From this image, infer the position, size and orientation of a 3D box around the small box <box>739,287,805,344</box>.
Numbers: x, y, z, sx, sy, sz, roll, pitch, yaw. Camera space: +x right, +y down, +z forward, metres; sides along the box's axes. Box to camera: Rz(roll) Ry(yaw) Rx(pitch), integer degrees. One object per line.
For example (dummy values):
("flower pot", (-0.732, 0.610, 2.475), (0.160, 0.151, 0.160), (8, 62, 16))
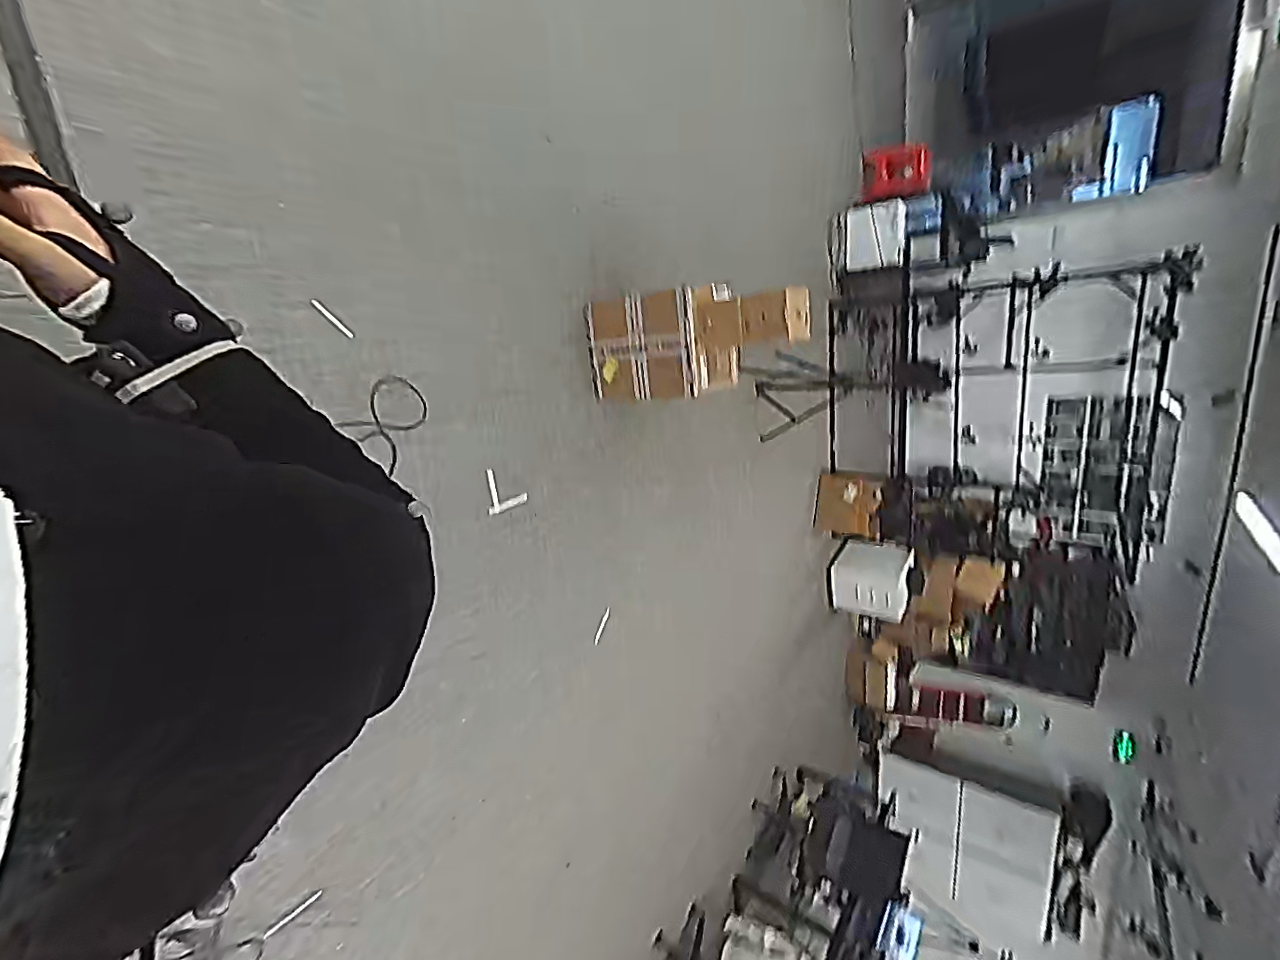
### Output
("small box", (0.449, -0.562, 1.855), (0.179, 0.176, 0.168), (-21, 111, -46))

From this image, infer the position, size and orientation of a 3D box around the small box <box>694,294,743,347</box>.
("small box", (0.314, -0.575, 1.949), (0.179, 0.176, 0.168), (-24, 112, -45))
